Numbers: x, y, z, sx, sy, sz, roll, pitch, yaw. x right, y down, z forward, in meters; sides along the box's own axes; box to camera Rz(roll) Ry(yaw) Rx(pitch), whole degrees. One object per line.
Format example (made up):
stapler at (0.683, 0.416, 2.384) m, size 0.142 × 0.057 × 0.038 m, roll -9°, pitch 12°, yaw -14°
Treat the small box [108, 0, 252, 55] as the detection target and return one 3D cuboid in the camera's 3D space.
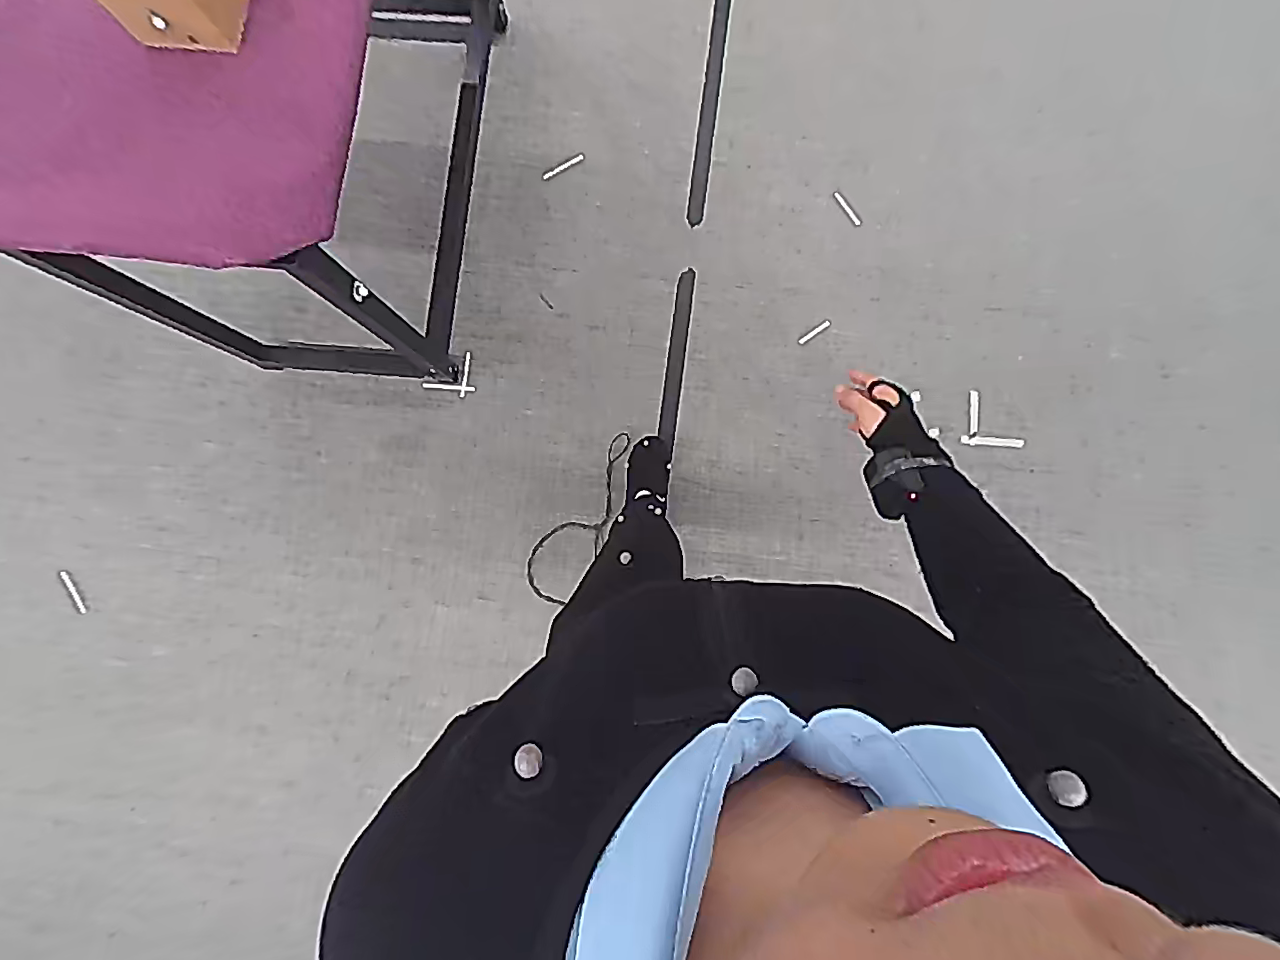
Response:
small box at (-0.722, -0.798, 0.813) m, size 0.168 × 0.176 × 0.179 m, roll 7°, pitch 84°, yaw 3°
